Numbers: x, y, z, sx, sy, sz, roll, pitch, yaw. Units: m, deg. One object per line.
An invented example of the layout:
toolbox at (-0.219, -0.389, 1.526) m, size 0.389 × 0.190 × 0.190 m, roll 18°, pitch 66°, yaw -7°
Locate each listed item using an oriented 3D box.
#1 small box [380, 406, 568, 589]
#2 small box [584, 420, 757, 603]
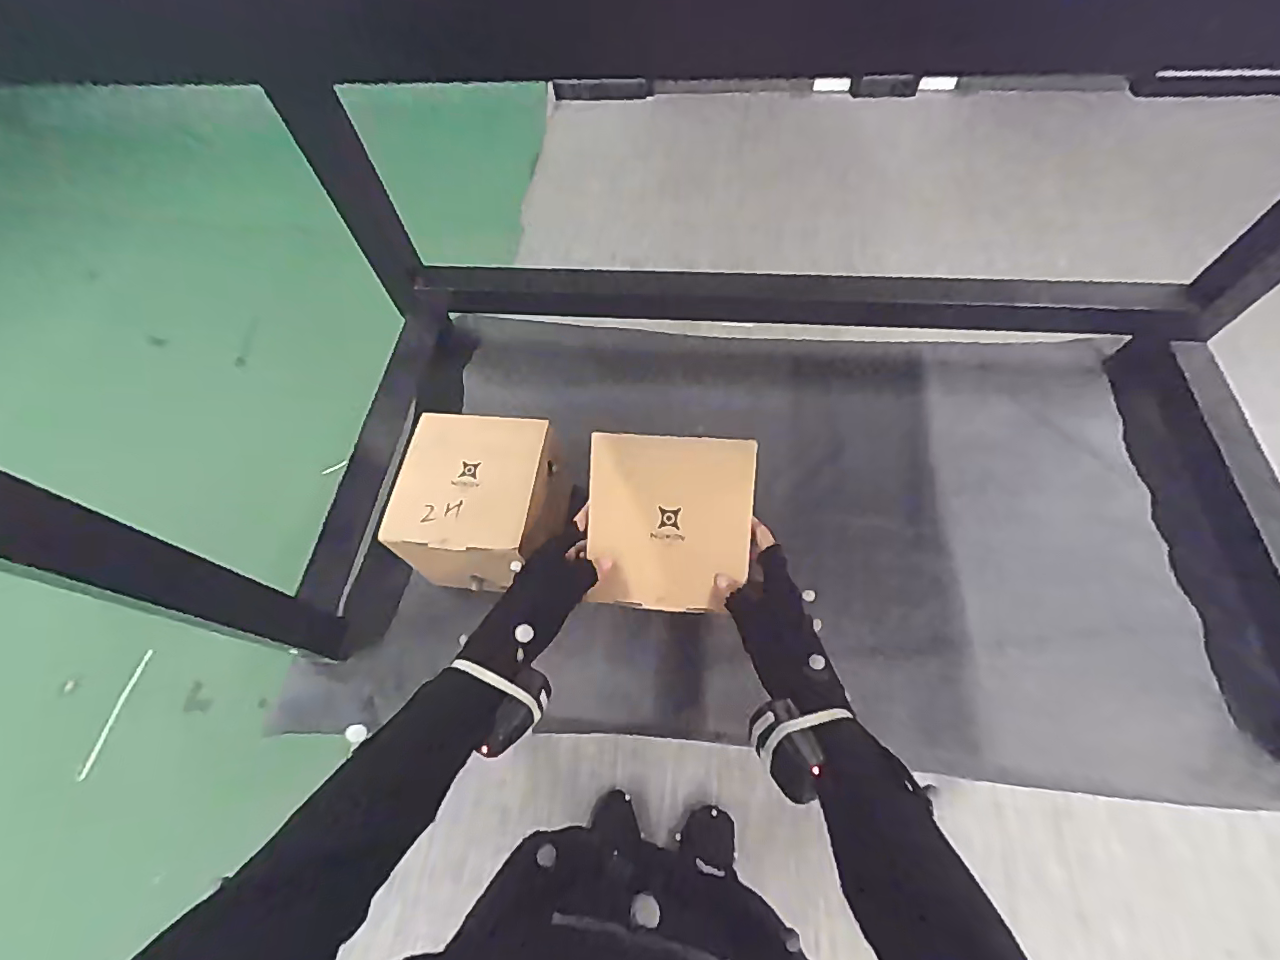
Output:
small box at (-0.196, 0.026, 0.702) m, size 0.168 × 0.176 × 0.179 m, roll 4°, pitch 62°, yaw 7°
small box at (0.037, 0.024, 0.618) m, size 0.168 × 0.176 × 0.179 m, roll 3°, pitch 96°, yaw 7°
